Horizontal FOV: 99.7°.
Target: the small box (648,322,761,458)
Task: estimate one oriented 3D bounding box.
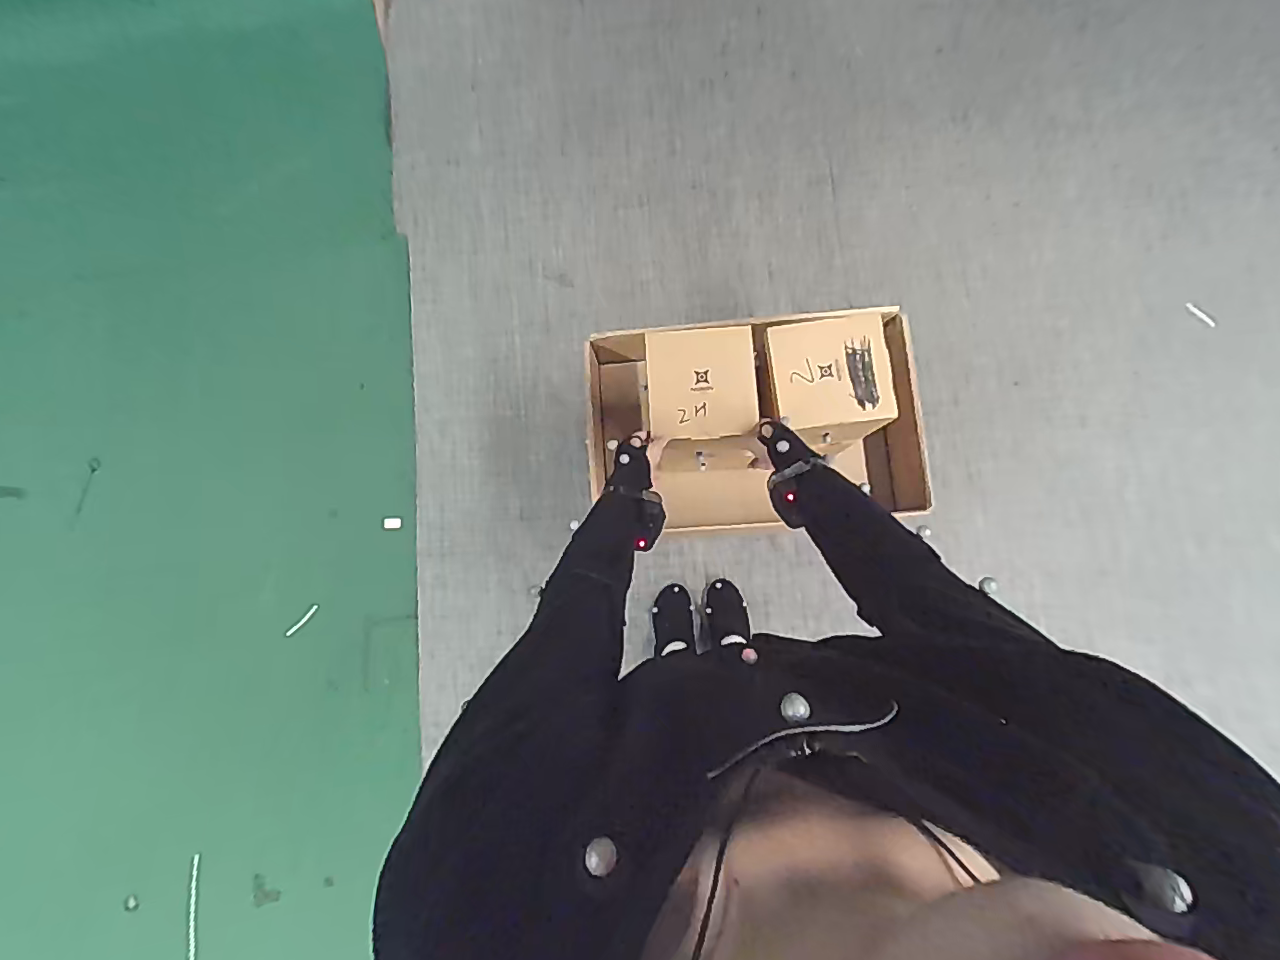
[{"bbox_3d":[0.098,-0.140,0.889,0.168,0.176,0.179,-3,82,3],"label":"small box"}]
